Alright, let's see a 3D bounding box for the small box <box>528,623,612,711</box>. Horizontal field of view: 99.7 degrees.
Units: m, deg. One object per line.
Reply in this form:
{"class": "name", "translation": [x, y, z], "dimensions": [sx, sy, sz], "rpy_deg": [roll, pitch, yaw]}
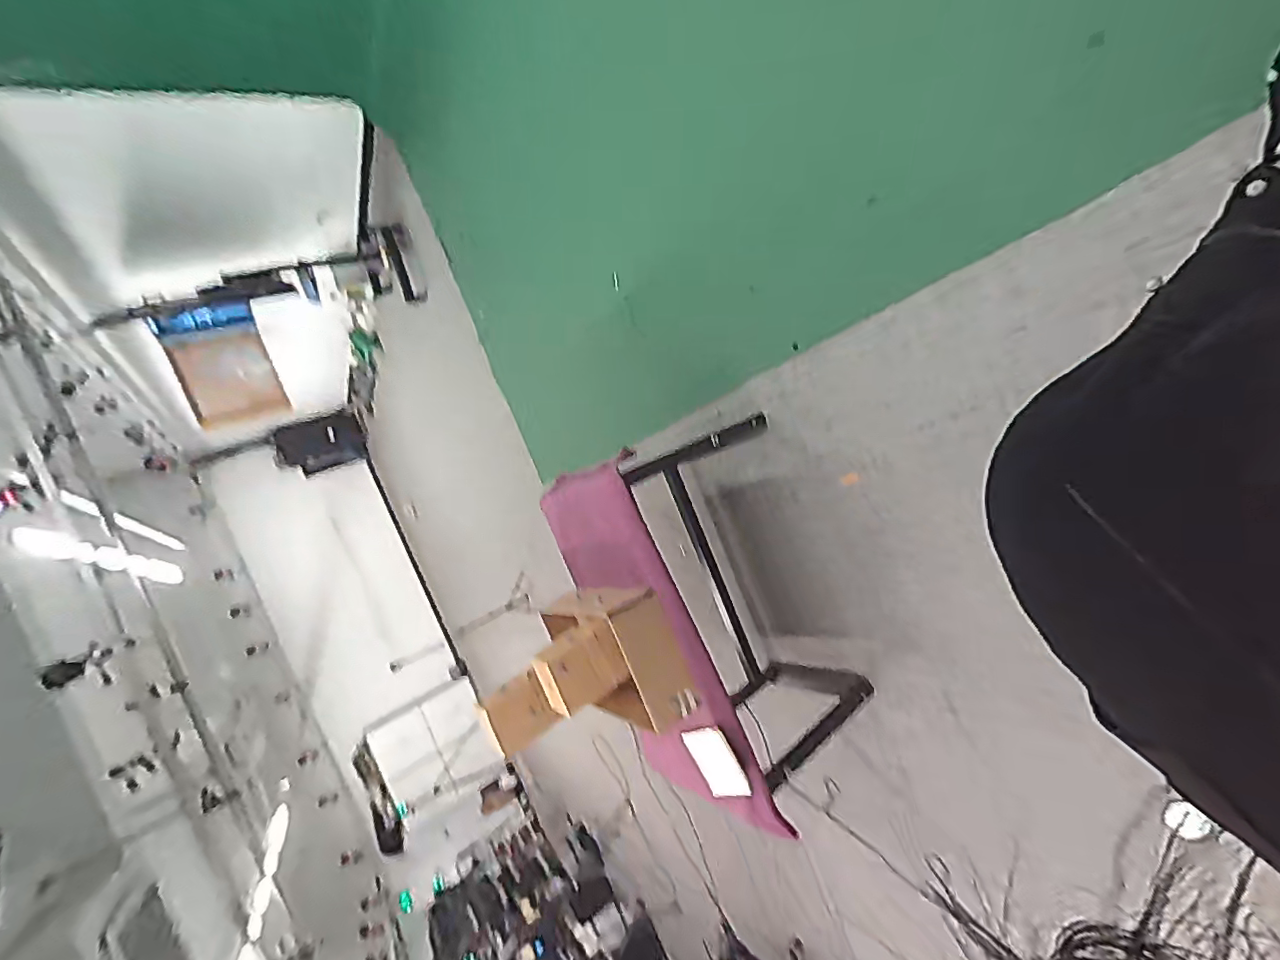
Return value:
{"class": "small box", "translation": [-0.208, 0.554, 1.626], "dimensions": [0.168, 0.176, 0.179], "rpy_deg": [-17, 97, 59]}

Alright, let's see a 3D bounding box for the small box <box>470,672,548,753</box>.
{"class": "small box", "translation": [-0.432, 0.760, 1.790], "dimensions": [0.168, 0.176, 0.179], "rpy_deg": [-19, 94, 57]}

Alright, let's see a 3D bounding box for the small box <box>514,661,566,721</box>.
{"class": "small box", "translation": [-0.307, 0.699, 1.876], "dimensions": [0.168, 0.176, 0.179], "rpy_deg": [-23, 92, 57]}
